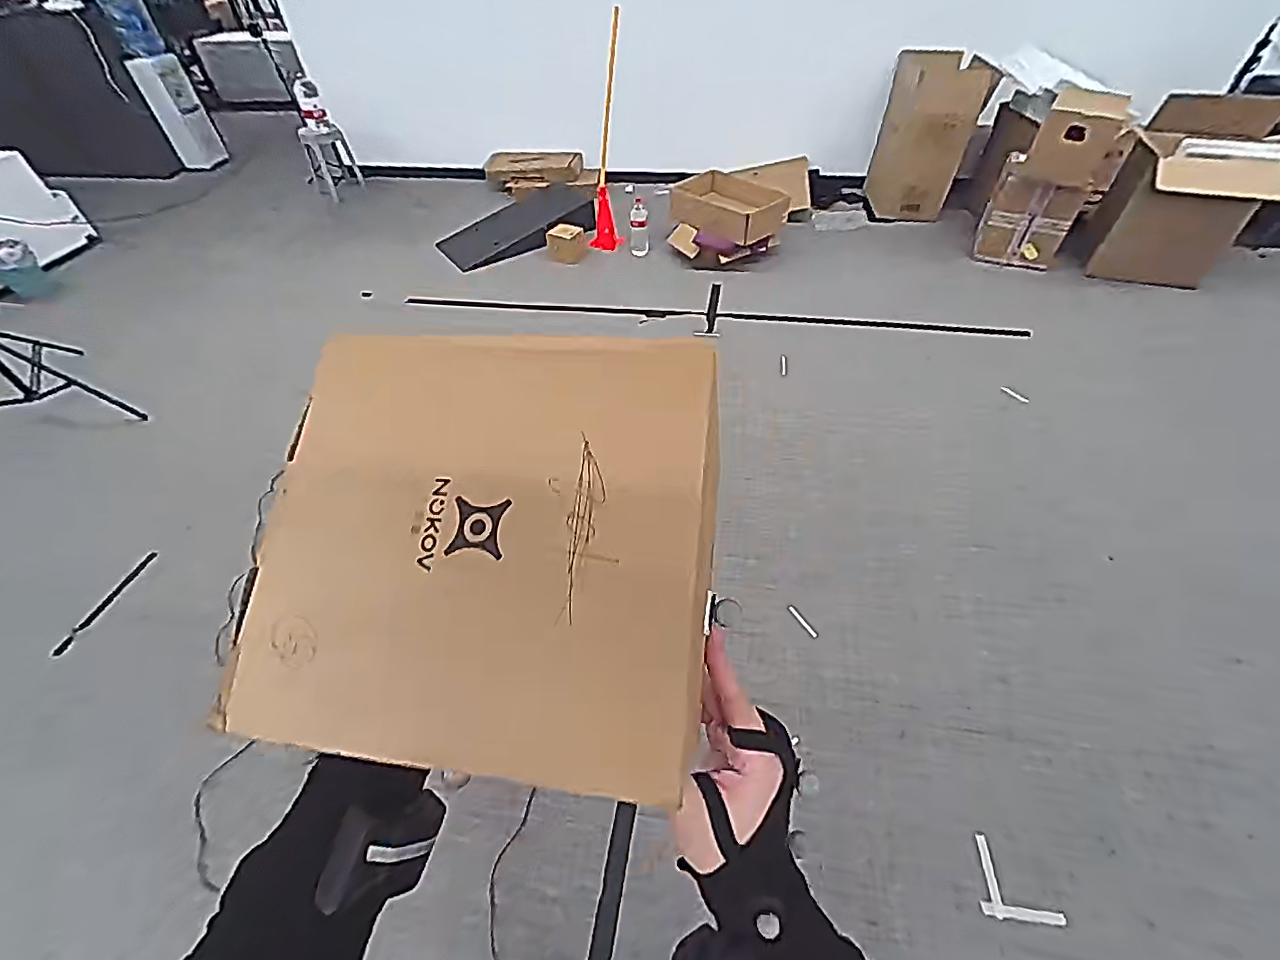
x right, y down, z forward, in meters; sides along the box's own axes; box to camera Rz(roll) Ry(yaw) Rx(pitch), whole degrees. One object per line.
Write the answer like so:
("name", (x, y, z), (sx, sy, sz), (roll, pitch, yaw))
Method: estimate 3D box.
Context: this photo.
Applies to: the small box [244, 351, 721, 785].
("small box", (-0.050, 0.046, 0.295), (0.179, 0.176, 0.168), (3, 73, 10))
